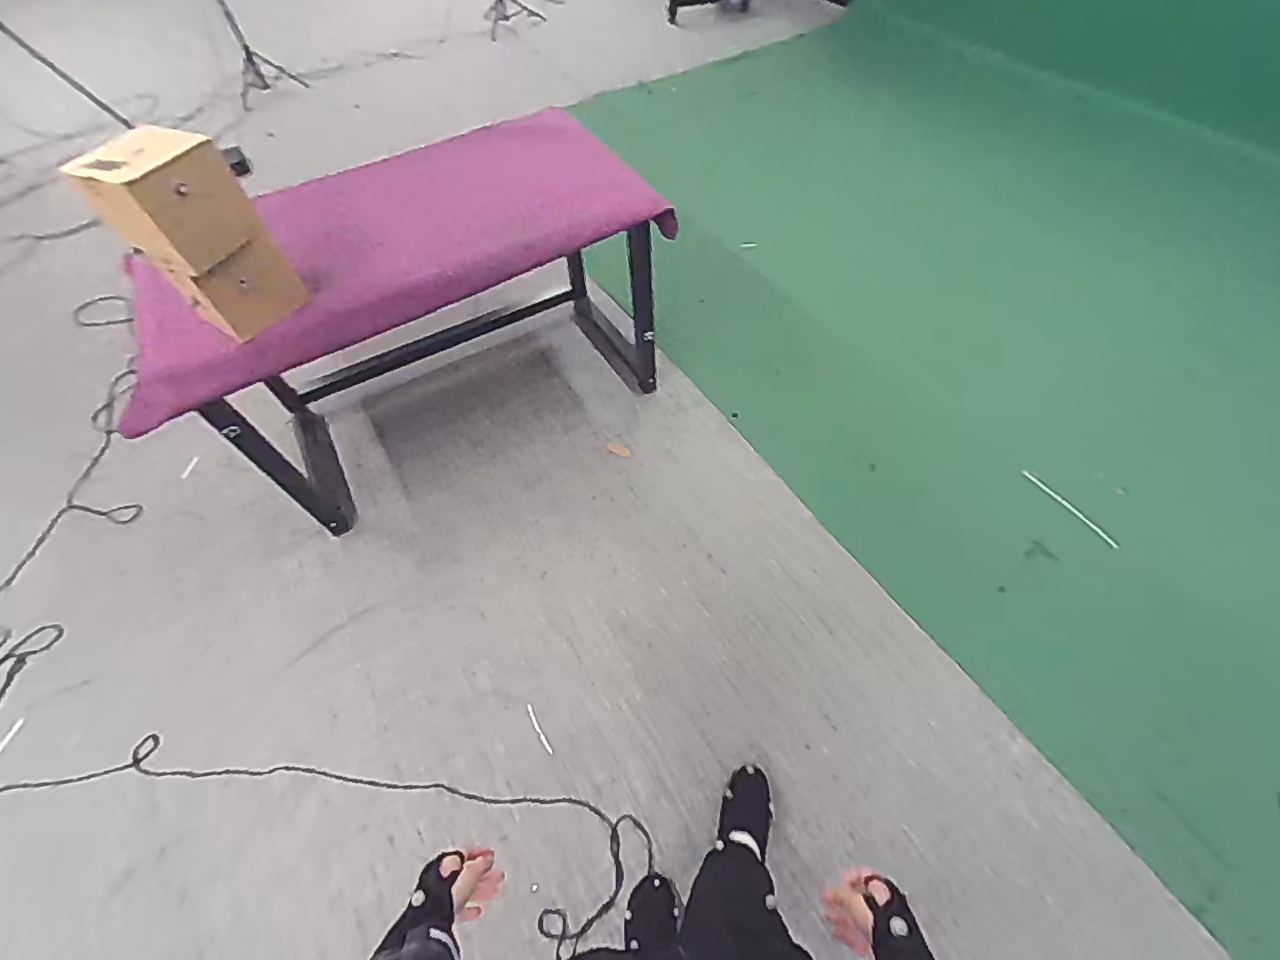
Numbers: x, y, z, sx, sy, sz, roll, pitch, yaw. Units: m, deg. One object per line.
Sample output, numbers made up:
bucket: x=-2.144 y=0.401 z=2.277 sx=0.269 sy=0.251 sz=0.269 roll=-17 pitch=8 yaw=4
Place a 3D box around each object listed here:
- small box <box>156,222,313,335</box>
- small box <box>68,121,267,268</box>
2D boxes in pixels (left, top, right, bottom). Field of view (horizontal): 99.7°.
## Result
small box: x=-0.837 y=-0.435 z=1.128 sx=0.168 sy=0.176 sz=0.179 roll=30 pitch=63 yaw=21
small box: x=-0.838 y=-0.515 z=0.983 sx=0.168 sy=0.176 sz=0.179 roll=18 pitch=58 yaw=15
